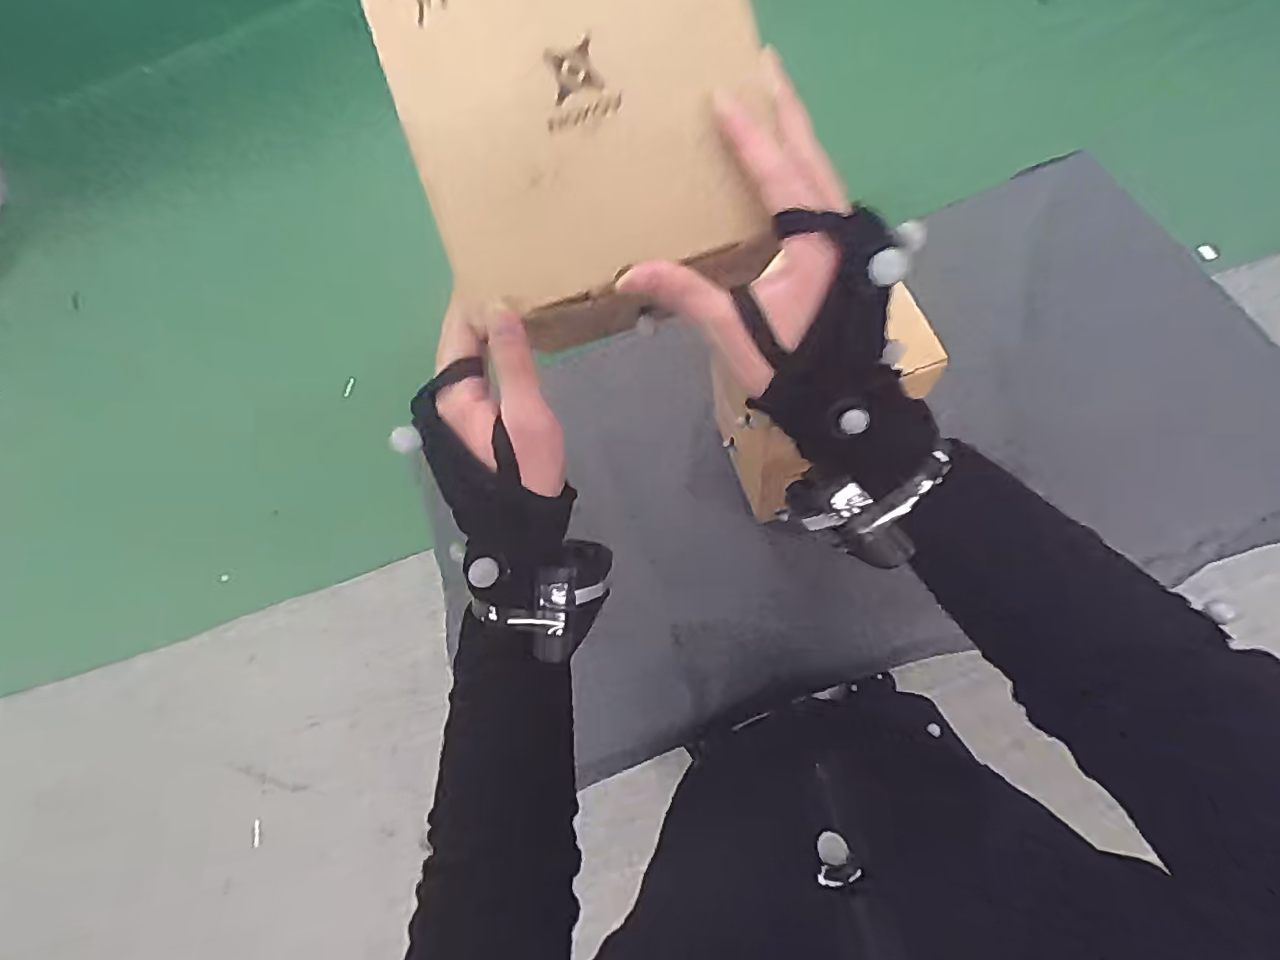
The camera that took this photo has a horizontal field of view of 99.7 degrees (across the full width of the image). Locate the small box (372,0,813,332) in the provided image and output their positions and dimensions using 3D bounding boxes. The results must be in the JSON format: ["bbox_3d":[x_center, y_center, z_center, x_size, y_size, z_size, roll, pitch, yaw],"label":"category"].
[{"bbox_3d":[-0.019,-0.191,0.311,0.168,0.176,0.179,-16,99,5],"label":"small box"}]

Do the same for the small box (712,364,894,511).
[{"bbox_3d":[0.205,-0.070,0.722,0.168,0.176,0.179,-19,67,3],"label":"small box"}]

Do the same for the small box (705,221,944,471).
[{"bbox_3d":[0.177,-0.125,0.572,0.168,0.176,0.179,-19,67,2],"label":"small box"}]
